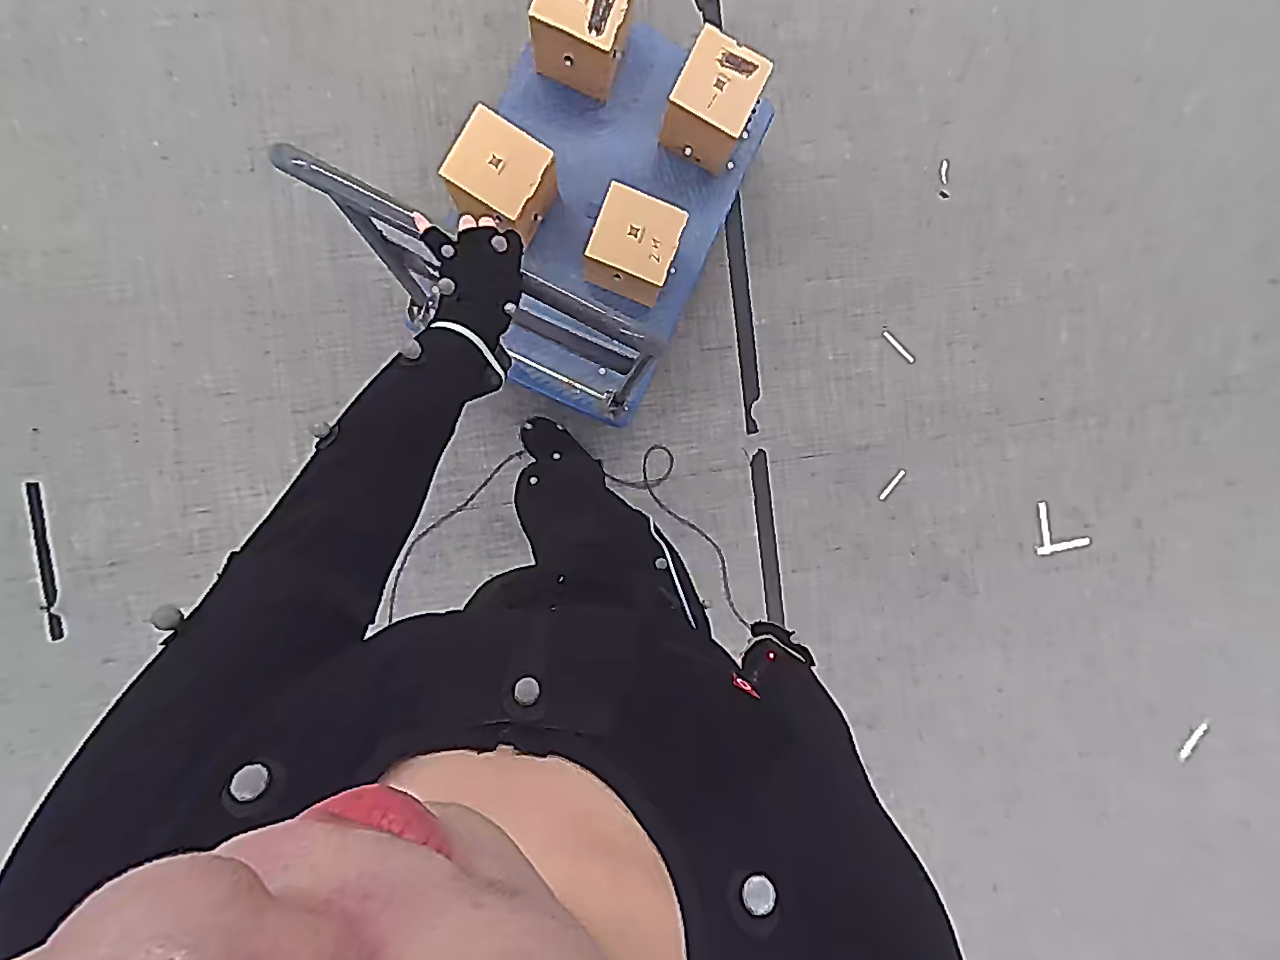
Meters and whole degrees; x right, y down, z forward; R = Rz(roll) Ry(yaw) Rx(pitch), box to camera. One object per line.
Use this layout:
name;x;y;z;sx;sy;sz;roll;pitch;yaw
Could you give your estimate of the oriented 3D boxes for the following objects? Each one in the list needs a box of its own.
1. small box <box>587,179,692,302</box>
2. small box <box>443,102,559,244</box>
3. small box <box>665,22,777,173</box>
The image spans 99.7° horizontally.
small box;-0.008;-0.515;1.192;0.179;0.176;0.168;21;91;-7
small box;-0.287;-0.641;1.157;0.179;0.176;0.168;30;90;-8
small box;0.168;-0.830;1.192;0.168;0.176;0.179;26;92;-7
